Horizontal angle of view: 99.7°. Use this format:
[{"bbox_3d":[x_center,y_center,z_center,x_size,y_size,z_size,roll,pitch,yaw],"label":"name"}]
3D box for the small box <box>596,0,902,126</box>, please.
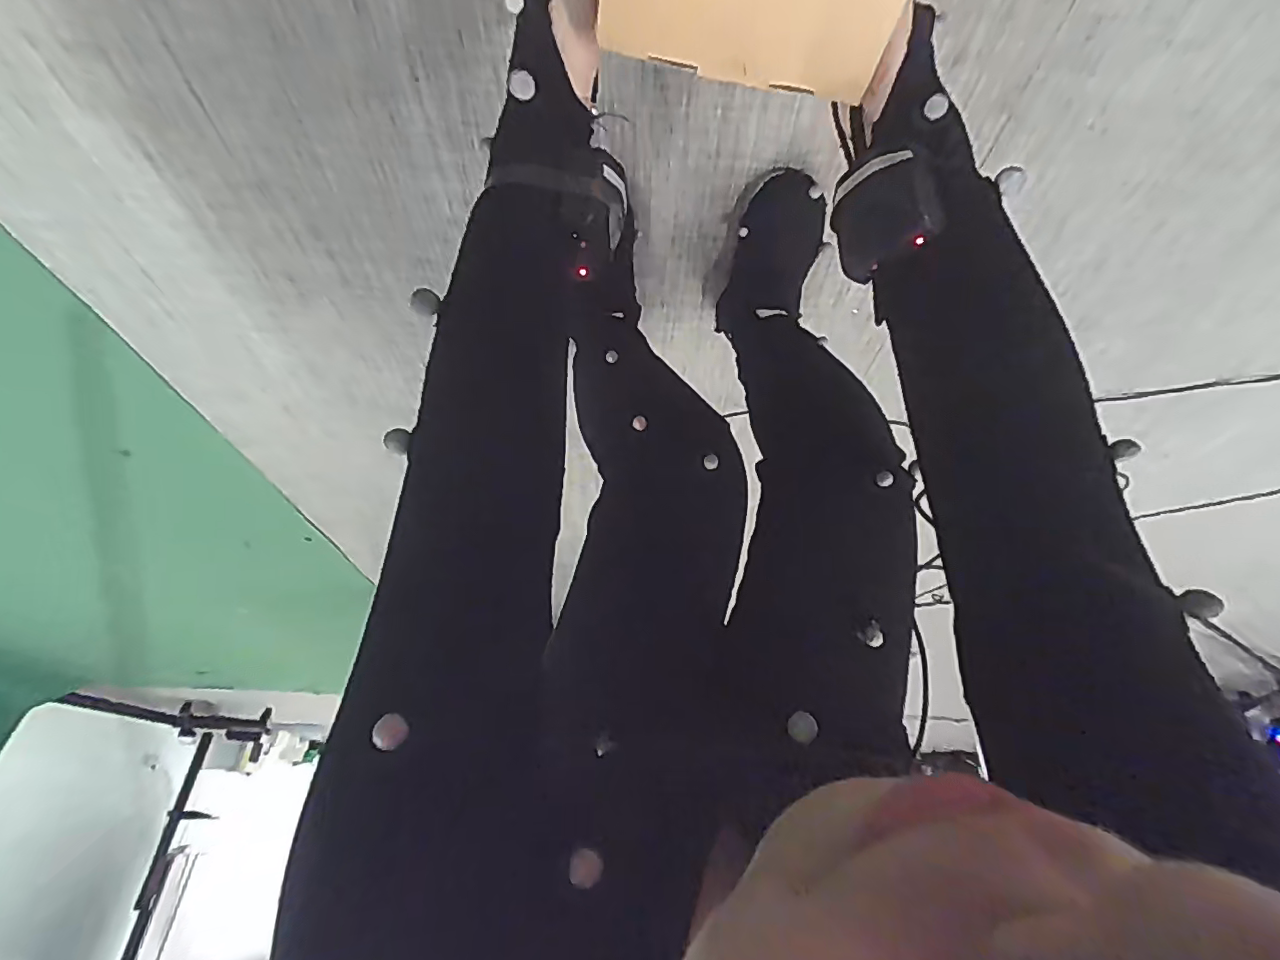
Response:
[{"bbox_3d":[0.065,-0.349,0.308,0.168,0.176,0.179,4,149,-9],"label":"small box"}]
